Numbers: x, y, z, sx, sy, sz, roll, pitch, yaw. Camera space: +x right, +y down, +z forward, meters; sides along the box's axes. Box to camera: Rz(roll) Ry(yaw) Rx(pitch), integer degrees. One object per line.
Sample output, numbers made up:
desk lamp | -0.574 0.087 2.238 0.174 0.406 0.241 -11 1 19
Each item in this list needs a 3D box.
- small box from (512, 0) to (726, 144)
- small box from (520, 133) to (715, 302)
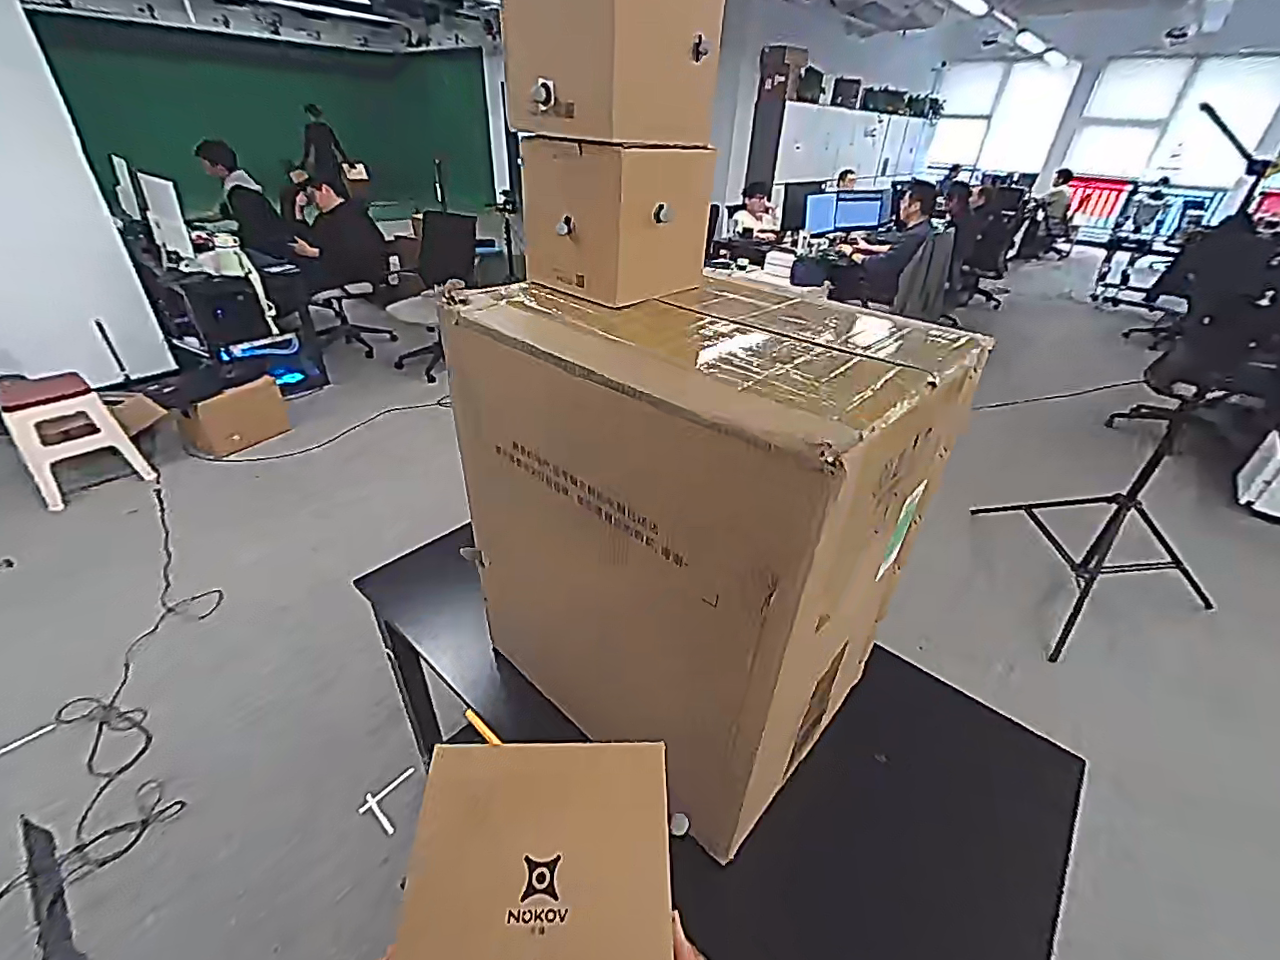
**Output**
small box | -0.027 -0.467 0.586 0.168 0.176 0.179 26 39 31
small box | -0.026 -0.334 0.683 0.168 0.176 0.179 28 41 31
